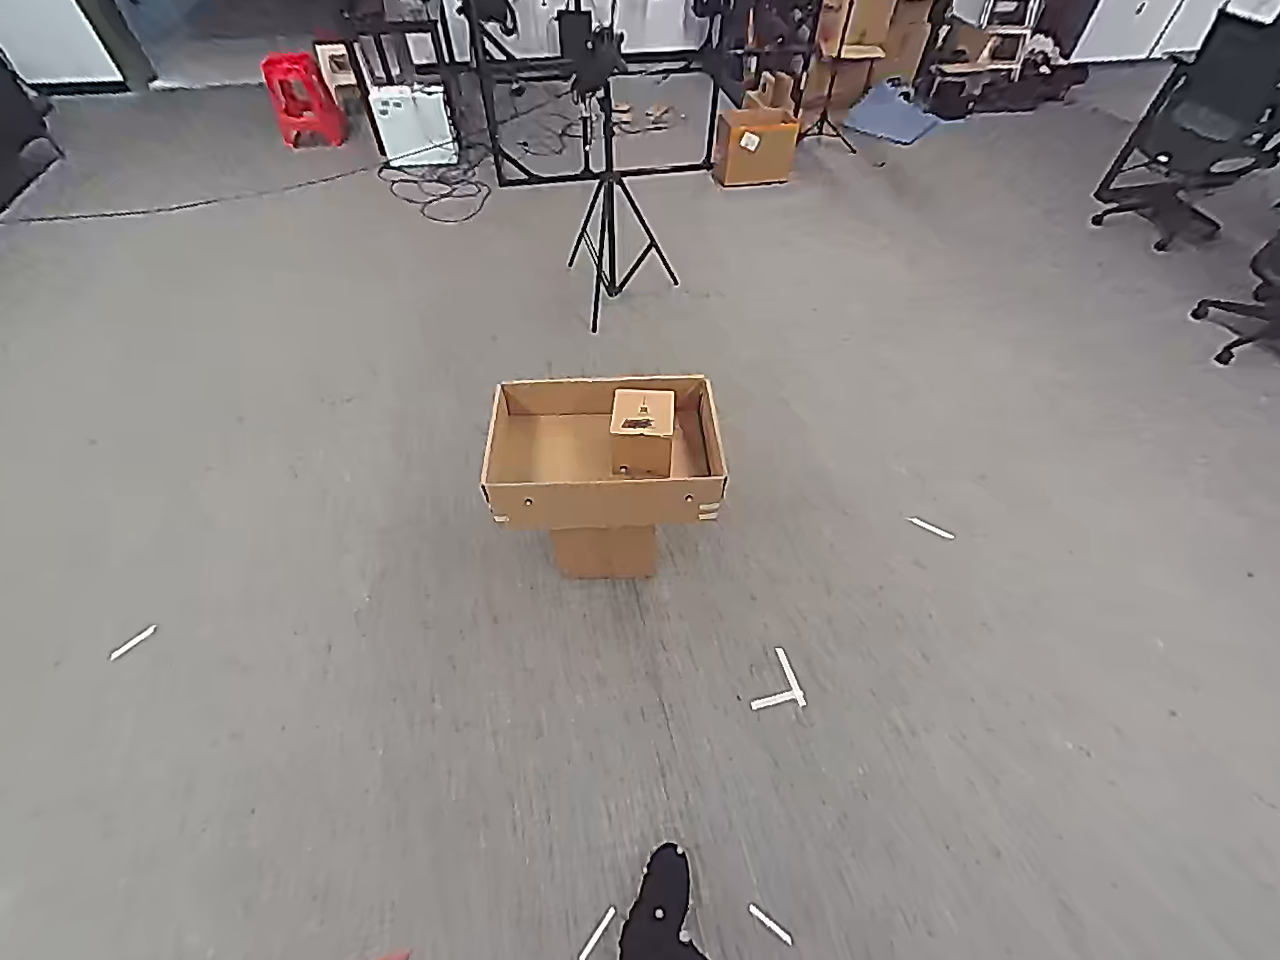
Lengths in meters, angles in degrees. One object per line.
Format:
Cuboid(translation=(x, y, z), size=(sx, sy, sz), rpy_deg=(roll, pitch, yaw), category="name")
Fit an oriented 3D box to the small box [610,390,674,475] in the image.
Cuboid(translation=(0.010, -0.129, 1.508), size=(0.168, 0.176, 0.179), rpy_deg=(3, 51, 2), category="small box")
